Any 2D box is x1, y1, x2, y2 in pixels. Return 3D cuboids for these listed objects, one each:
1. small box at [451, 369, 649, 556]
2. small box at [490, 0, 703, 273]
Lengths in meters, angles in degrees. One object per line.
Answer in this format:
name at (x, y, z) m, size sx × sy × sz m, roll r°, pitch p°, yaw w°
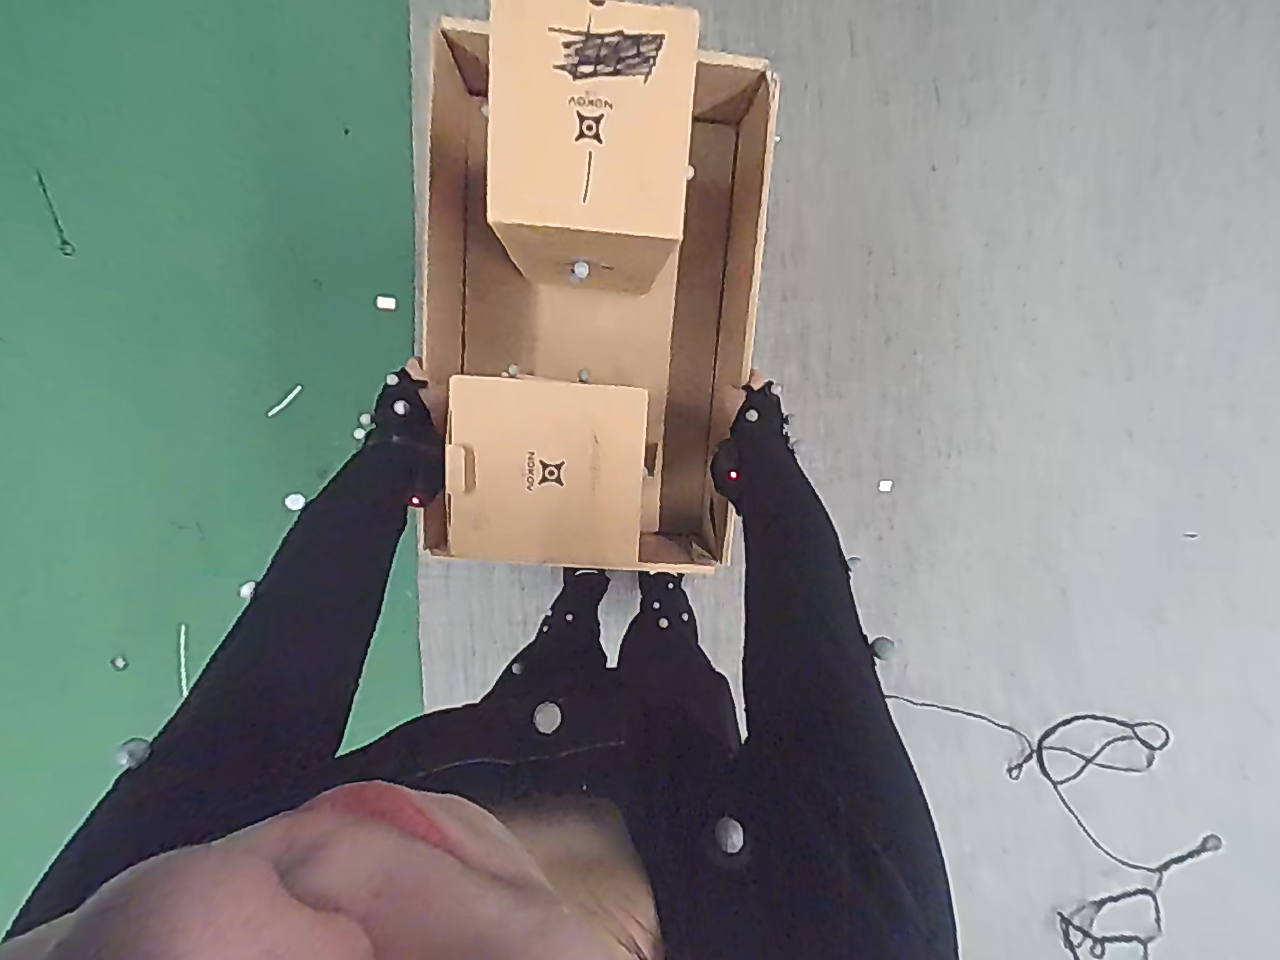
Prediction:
small box at (-0.090, -0.026, 0.571) m, size 0.179 × 0.176 × 0.168 m, roll 2°, pitch 100°, yaw -7°
small box at (-0.044, -0.311, 0.519) m, size 0.168 × 0.176 × 0.179 m, roll 3°, pitch 101°, yaw -5°
